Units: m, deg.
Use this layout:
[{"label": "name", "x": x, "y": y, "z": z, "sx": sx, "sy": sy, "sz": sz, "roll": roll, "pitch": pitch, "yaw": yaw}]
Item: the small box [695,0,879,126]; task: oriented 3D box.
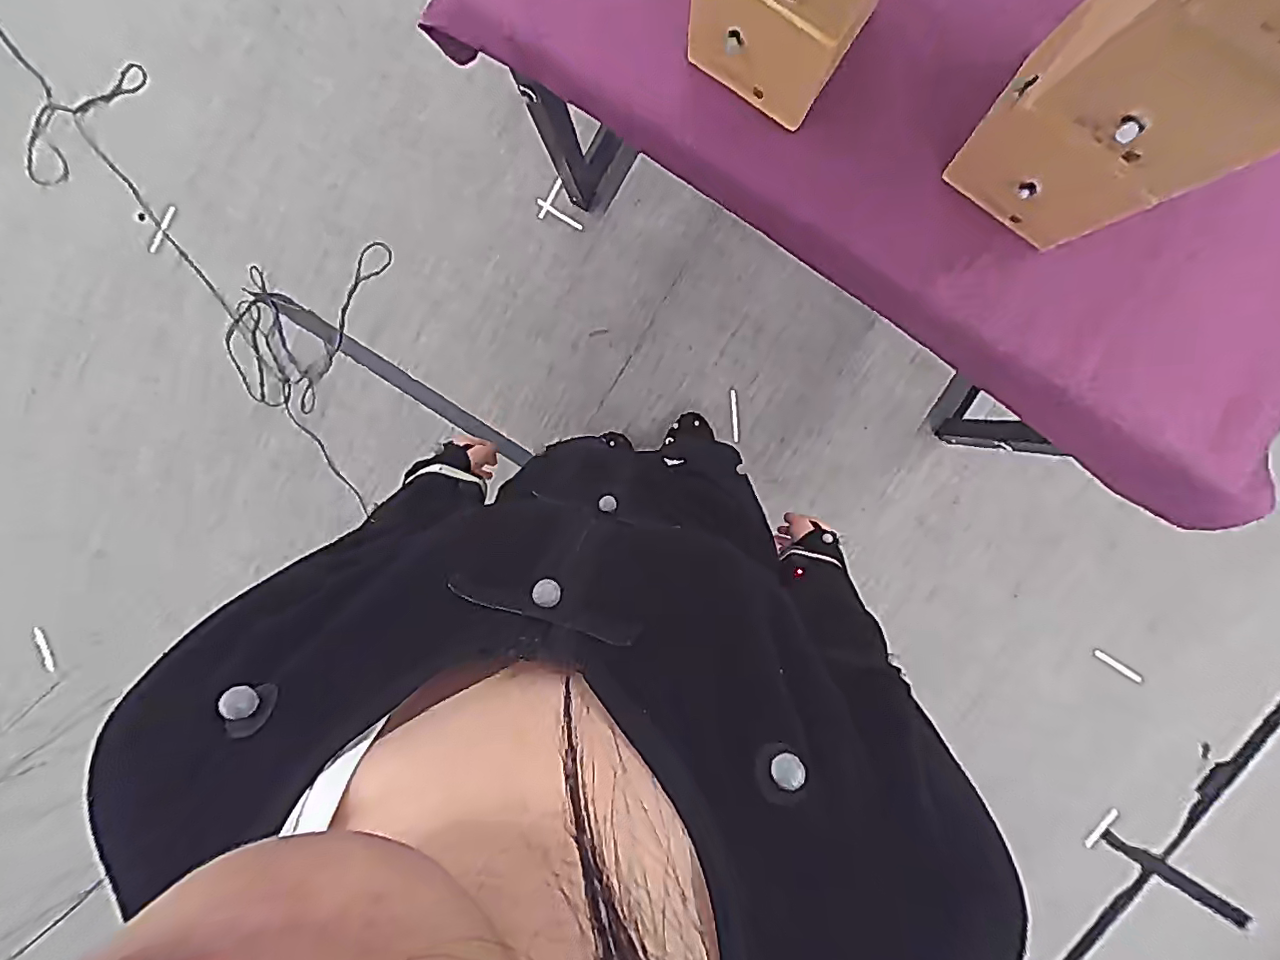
[{"label": "small box", "x": 0.172, "y": -0.546, "z": 0.597, "sx": 0.168, "sy": 0.176, "sz": 0.179, "roll": 33, "pitch": 96, "yaw": -2}]

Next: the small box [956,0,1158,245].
[{"label": "small box", "x": 0.495, "y": -0.397, "z": 0.602, "sx": 0.168, "sy": 0.176, "sz": 0.179, "roll": 35, "pitch": 97, "yaw": -3}]

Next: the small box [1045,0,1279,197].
[{"label": "small box", "x": 0.493, "y": -0.378, "z": 0.439, "sx": 0.168, "sy": 0.176, "sz": 0.179, "roll": 35, "pitch": 98, "yaw": -2}]

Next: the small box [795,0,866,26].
[{"label": "small box", "x": 0.169, "y": -0.533, "z": 0.433, "sx": 0.168, "sy": 0.176, "sz": 0.179, "roll": 31, "pitch": 97, "yaw": -2}]
